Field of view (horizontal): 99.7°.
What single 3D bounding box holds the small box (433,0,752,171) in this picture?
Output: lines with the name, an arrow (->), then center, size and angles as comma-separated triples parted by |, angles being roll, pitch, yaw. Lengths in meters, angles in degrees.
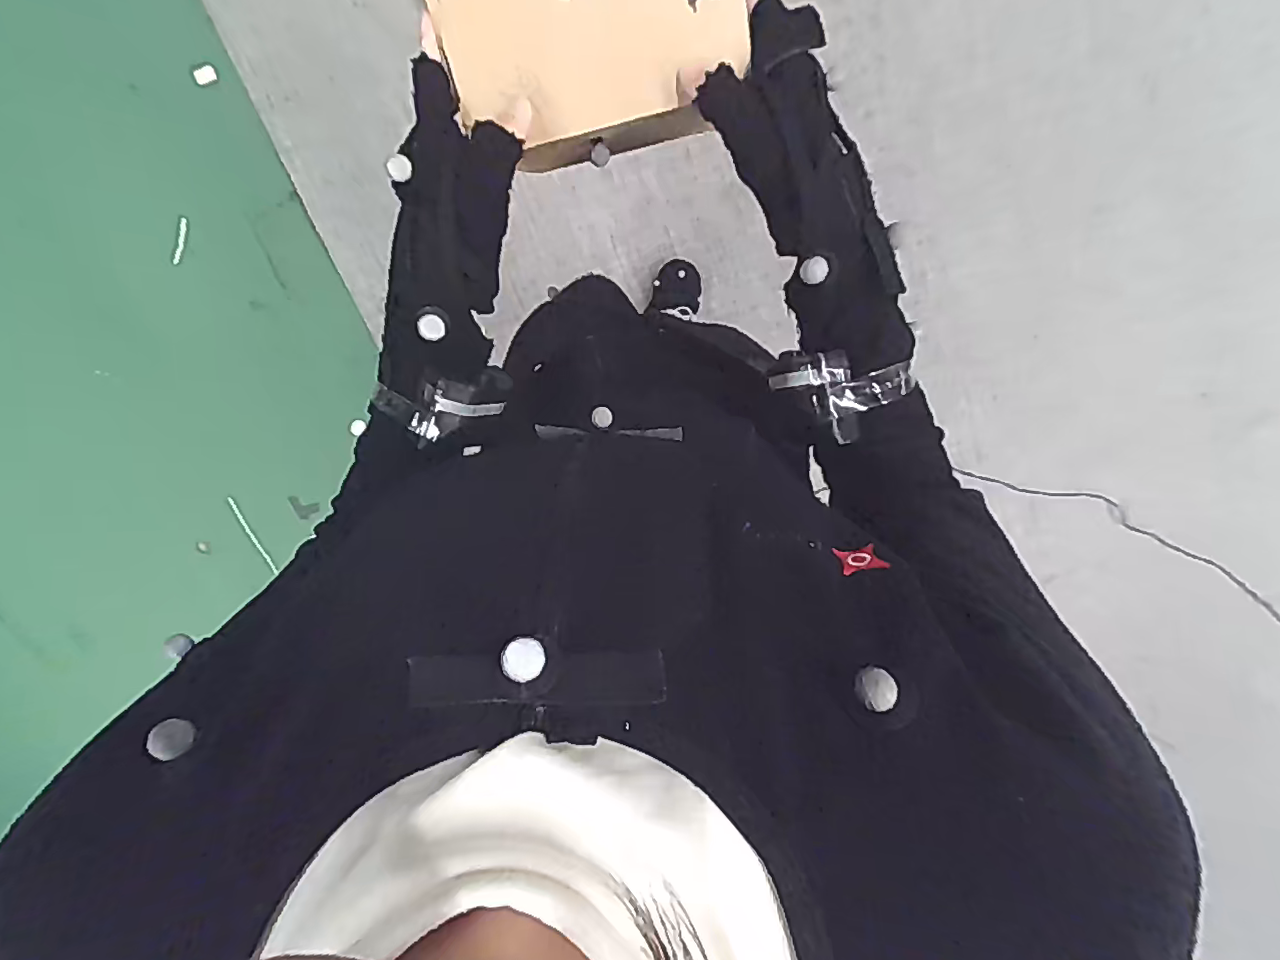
small box -> -0.031, -0.329, 0.368 | 0.179, 0.176, 0.168 | -12, 114, 9
